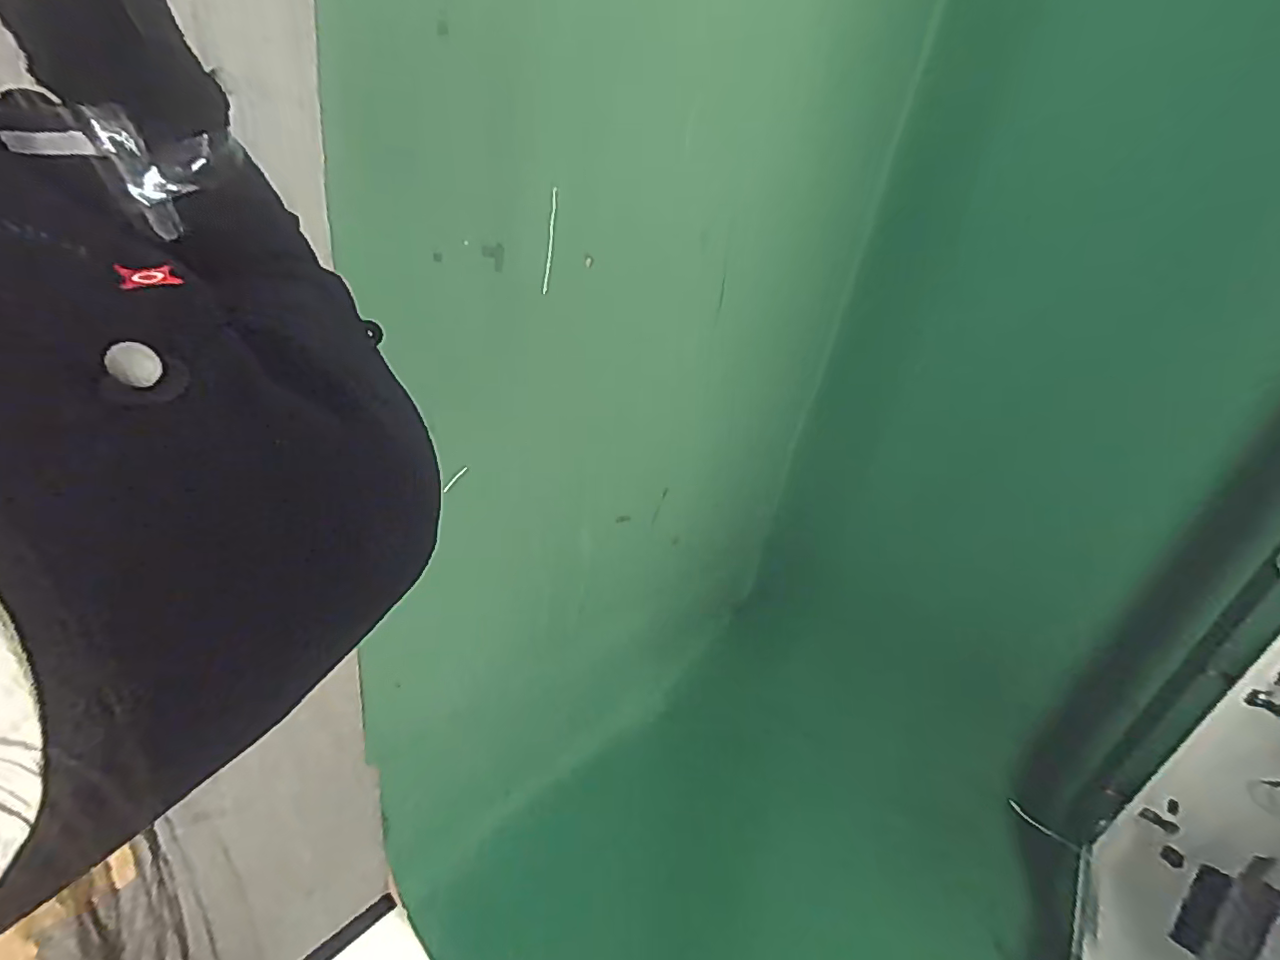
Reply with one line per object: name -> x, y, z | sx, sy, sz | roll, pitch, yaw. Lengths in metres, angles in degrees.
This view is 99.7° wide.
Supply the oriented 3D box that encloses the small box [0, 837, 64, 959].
small box -> -1.188, 0.798, 0.969 | 0.179, 0.176, 0.168 | -17, 126, -45
